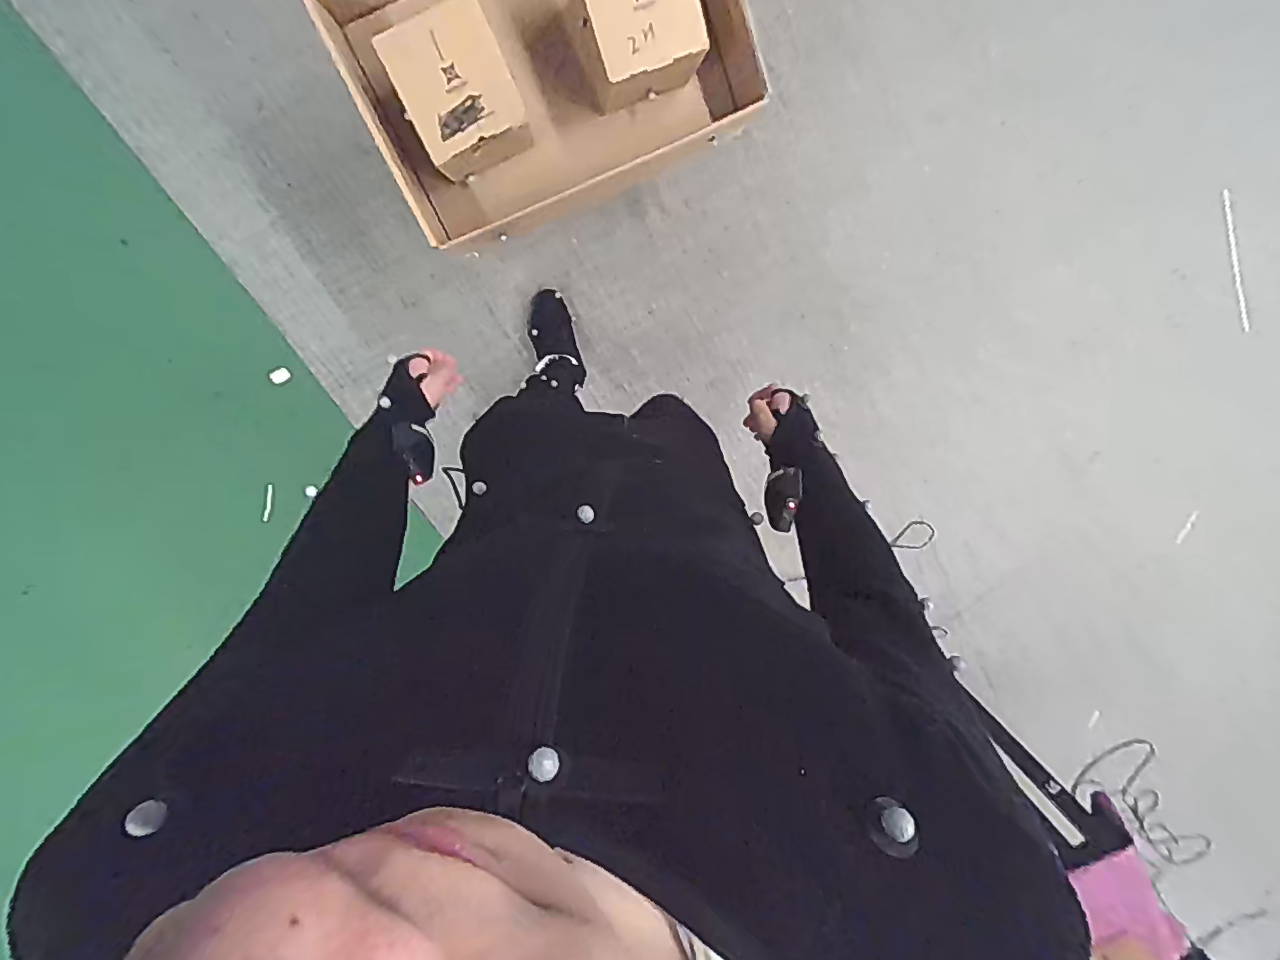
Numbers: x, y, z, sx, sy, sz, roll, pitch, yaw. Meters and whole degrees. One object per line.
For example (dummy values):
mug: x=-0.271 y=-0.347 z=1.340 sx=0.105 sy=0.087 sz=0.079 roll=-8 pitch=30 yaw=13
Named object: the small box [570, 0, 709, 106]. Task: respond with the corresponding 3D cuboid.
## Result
small box: x=-0.008 y=-0.735 z=0.853 sx=0.168 sy=0.176 sz=0.179 roll=-20 pitch=112 yaw=0
